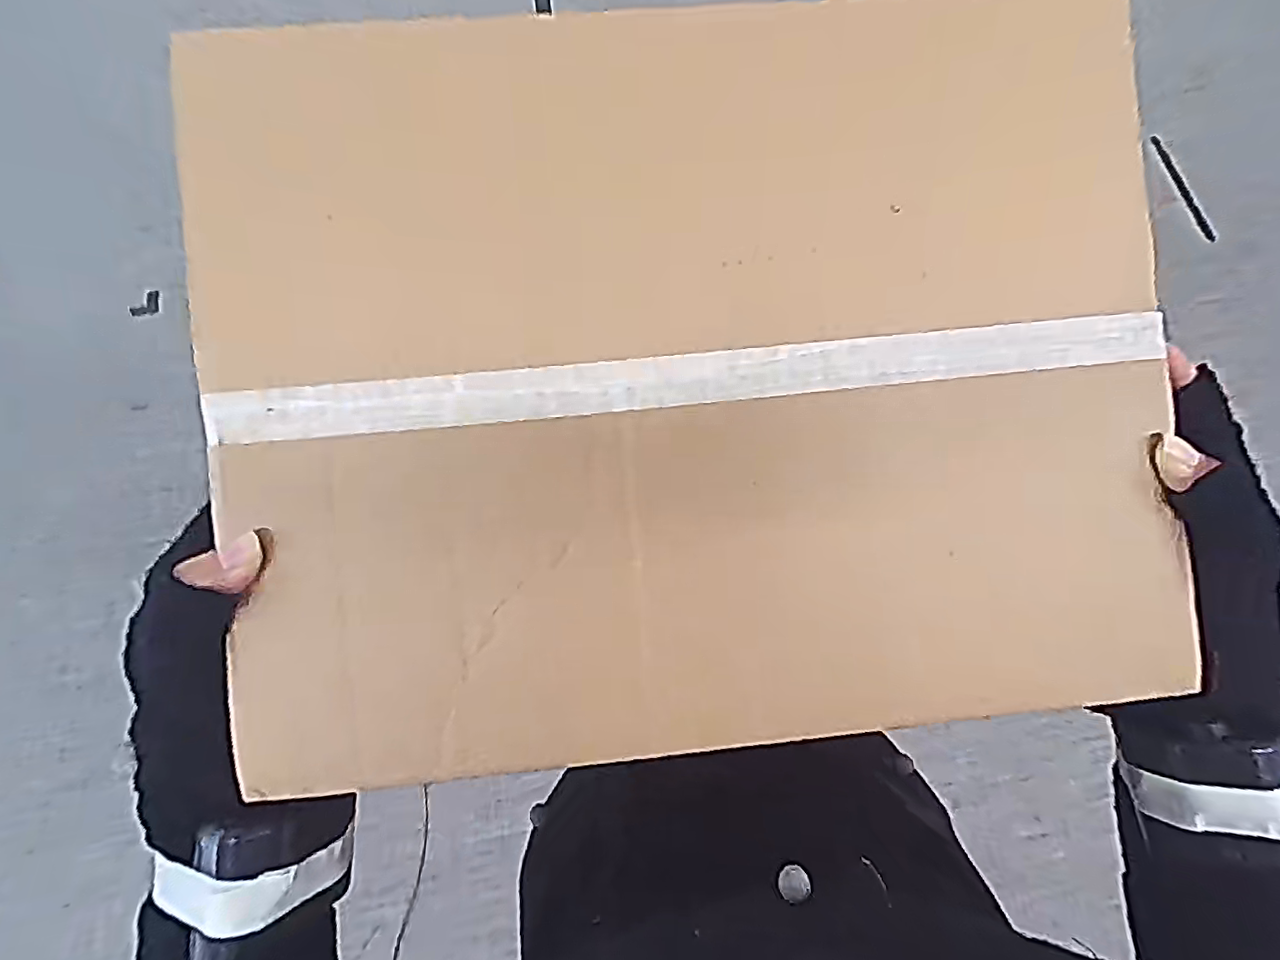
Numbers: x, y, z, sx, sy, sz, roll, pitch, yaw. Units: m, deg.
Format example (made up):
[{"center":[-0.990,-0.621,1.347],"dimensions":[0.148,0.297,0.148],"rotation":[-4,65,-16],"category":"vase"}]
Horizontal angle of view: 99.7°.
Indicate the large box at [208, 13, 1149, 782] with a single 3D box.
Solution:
[{"center":[0.021,-0.042,0.390],"dimensions":[0.408,0.320,0.320],"rotation":[-6,89,-2],"category":"large box"}]
